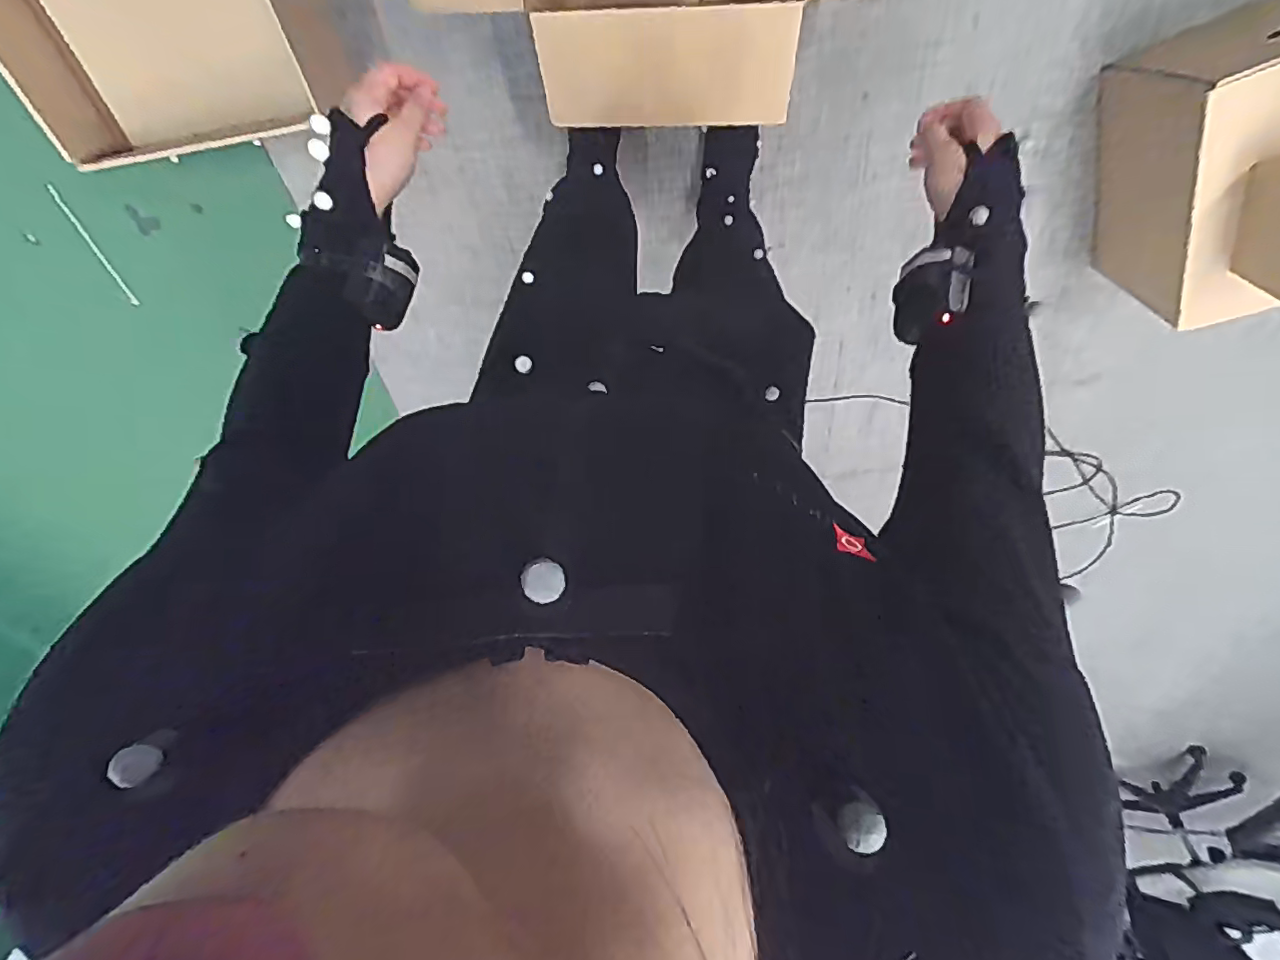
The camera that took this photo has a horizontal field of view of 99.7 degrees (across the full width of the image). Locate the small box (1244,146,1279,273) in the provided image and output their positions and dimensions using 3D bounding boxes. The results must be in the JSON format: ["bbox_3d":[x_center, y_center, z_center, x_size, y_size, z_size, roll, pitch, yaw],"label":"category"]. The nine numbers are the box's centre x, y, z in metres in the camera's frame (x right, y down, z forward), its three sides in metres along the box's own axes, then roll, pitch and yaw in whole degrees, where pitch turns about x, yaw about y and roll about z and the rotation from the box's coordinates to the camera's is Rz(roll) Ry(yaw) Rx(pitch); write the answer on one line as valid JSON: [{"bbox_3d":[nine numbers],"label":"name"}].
[{"bbox_3d":[1.009,-0.389,0.750,0.168,0.176,0.179,-14,128,23],"label":"small box"}]
